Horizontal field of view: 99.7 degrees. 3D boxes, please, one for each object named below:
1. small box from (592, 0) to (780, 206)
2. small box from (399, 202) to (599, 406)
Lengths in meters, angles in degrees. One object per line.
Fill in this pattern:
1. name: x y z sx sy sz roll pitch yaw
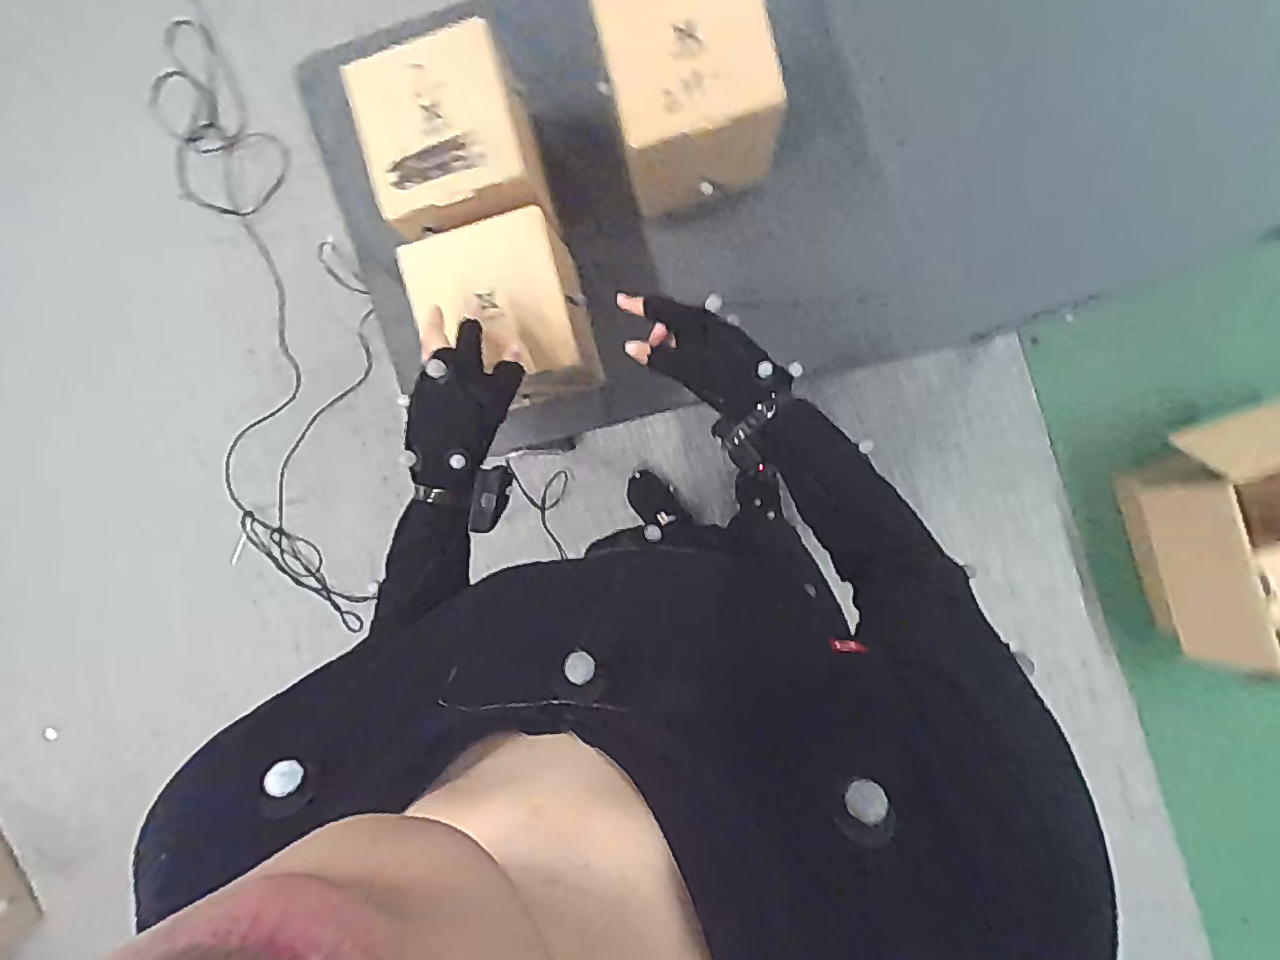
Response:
1. small box: 0.050 -0.459 0.630 0.168 0.176 0.179 -15 92 6
2. small box: -0.159 -0.199 0.664 0.168 0.176 0.179 -15 93 6
